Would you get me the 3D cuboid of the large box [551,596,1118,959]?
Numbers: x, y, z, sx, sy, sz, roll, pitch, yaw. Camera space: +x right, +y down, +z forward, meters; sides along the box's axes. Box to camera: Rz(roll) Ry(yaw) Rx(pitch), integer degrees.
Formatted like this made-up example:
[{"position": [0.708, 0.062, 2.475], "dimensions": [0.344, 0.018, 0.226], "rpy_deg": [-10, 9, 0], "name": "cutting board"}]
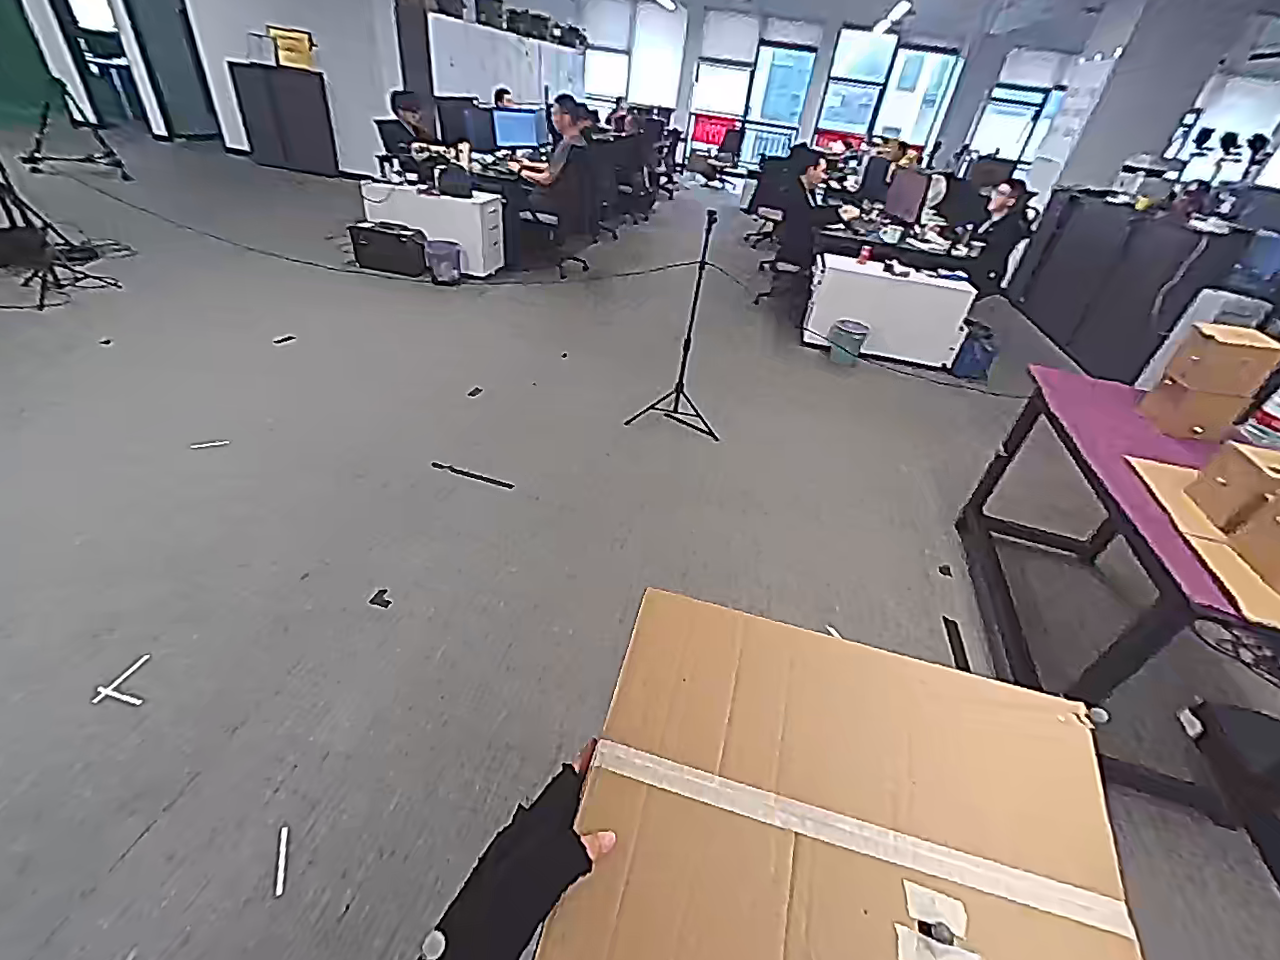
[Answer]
[{"position": [0.160, 0.367, 0.559], "dimensions": [0.408, 0.320, 0.320], "rpy_deg": [14, 55, 9], "name": "large box"}]
